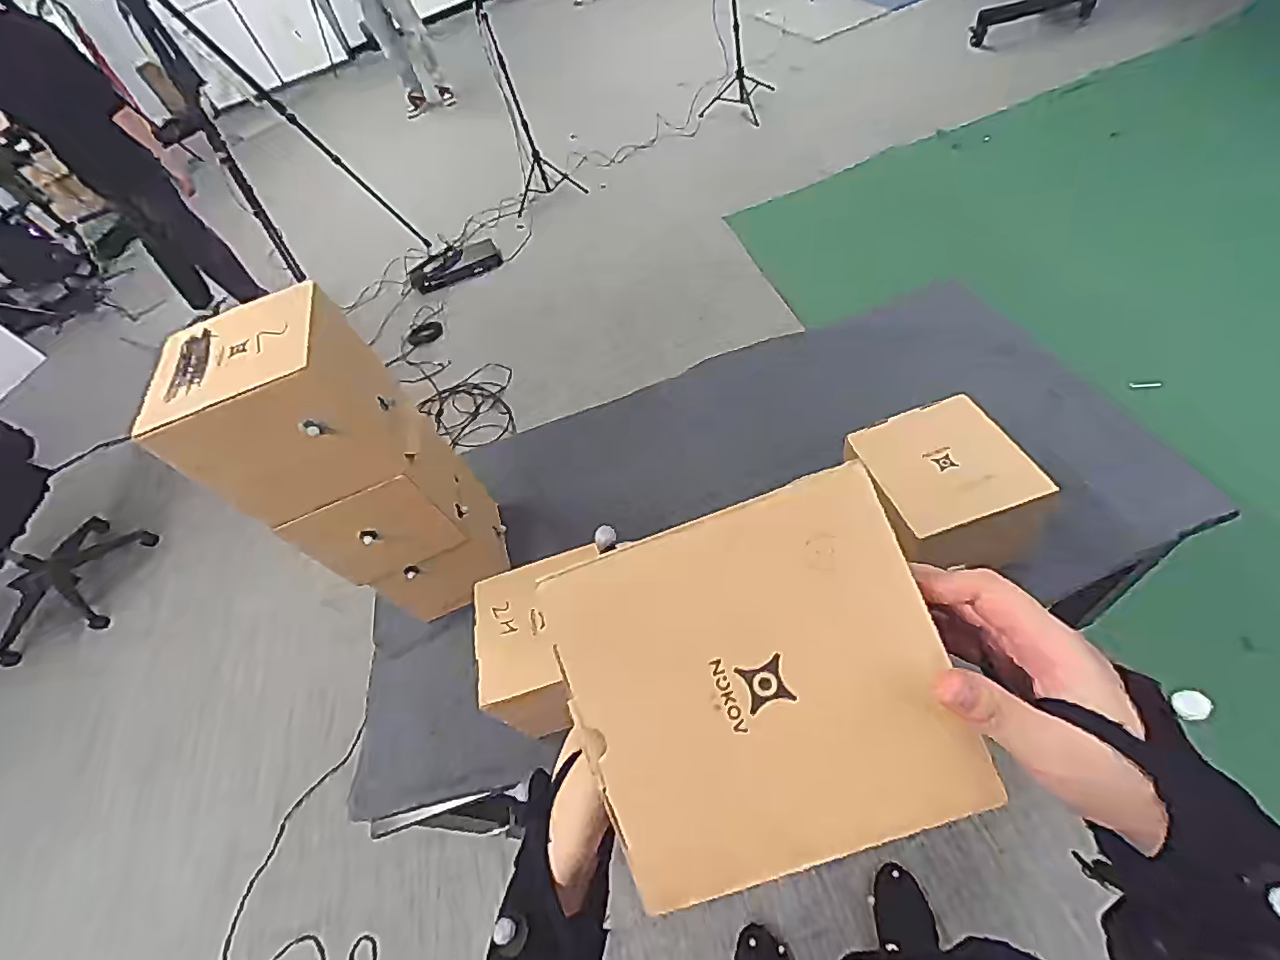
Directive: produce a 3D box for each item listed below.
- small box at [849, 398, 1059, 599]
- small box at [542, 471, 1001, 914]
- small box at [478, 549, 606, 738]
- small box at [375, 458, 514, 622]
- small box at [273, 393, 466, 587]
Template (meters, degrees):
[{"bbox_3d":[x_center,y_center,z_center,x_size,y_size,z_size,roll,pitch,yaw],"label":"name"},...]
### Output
[{"bbox_3d":[0.388,0.030,0.714,0.168,0.176,0.179,-21,50,3],"label":"small box"},{"bbox_3d":[0.065,0.106,0.337,0.179,0.176,0.168,-22,82,4],"label":"small box"},{"bbox_3d":[-0.096,0.222,0.721,0.179,0.176,0.168,-19,51,3],"label":"small box"},{"bbox_3d":[-0.323,0.101,0.884,0.168,0.176,0.179,-24,52,-1],"label":"small box"},{"bbox_3d":[-0.357,0.019,0.745,0.179,0.176,0.168,-24,52,0],"label":"small box"}]
